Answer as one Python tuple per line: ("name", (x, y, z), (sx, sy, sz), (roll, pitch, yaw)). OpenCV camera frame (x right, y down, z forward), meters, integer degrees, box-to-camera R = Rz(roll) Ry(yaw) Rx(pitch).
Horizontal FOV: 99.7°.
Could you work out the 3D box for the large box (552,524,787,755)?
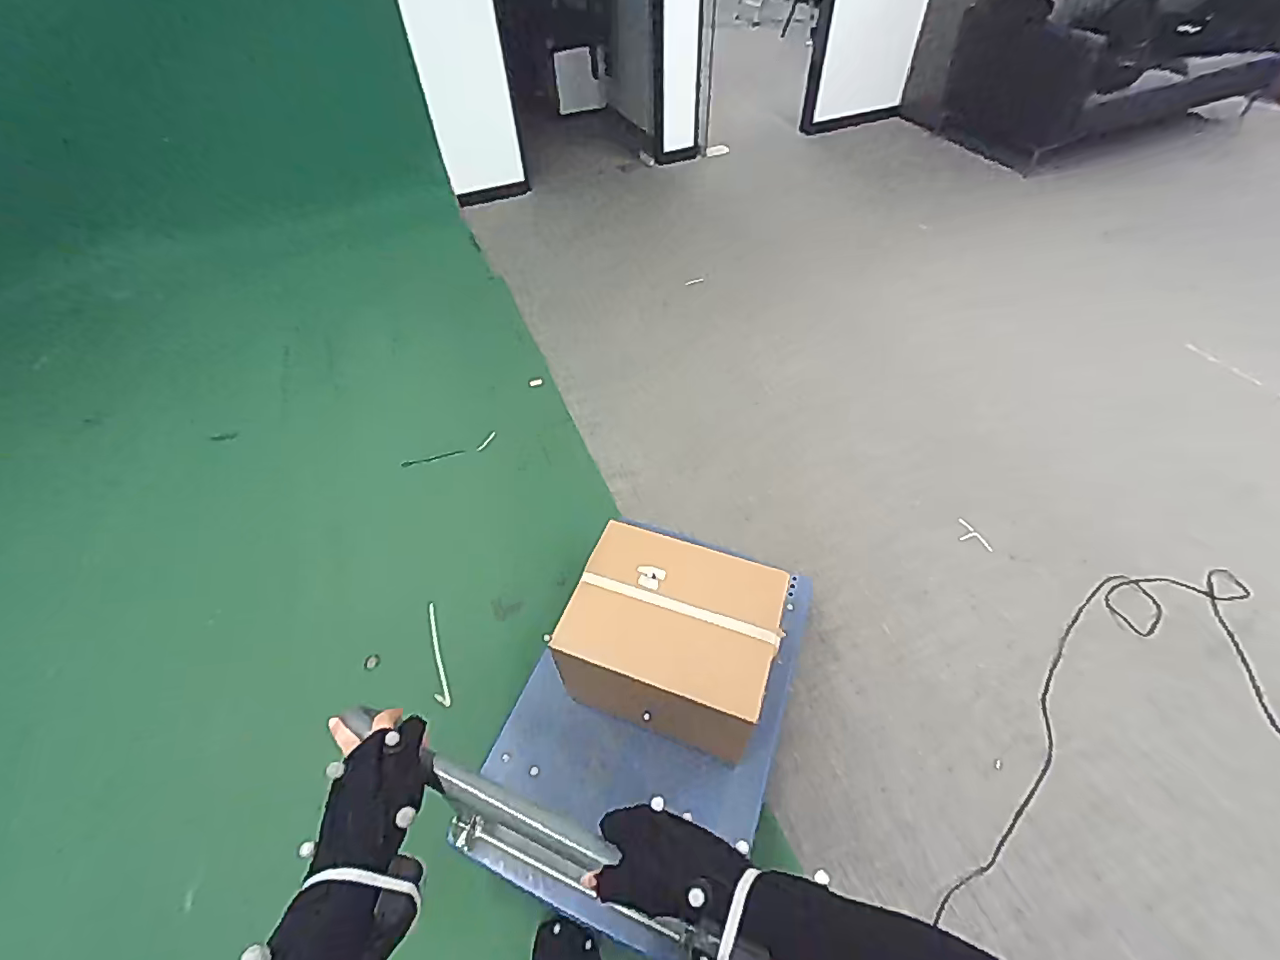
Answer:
("large box", (0.075, 0.350, 1.188), (0.408, 0.320, 0.320), (15, 52, 15))
